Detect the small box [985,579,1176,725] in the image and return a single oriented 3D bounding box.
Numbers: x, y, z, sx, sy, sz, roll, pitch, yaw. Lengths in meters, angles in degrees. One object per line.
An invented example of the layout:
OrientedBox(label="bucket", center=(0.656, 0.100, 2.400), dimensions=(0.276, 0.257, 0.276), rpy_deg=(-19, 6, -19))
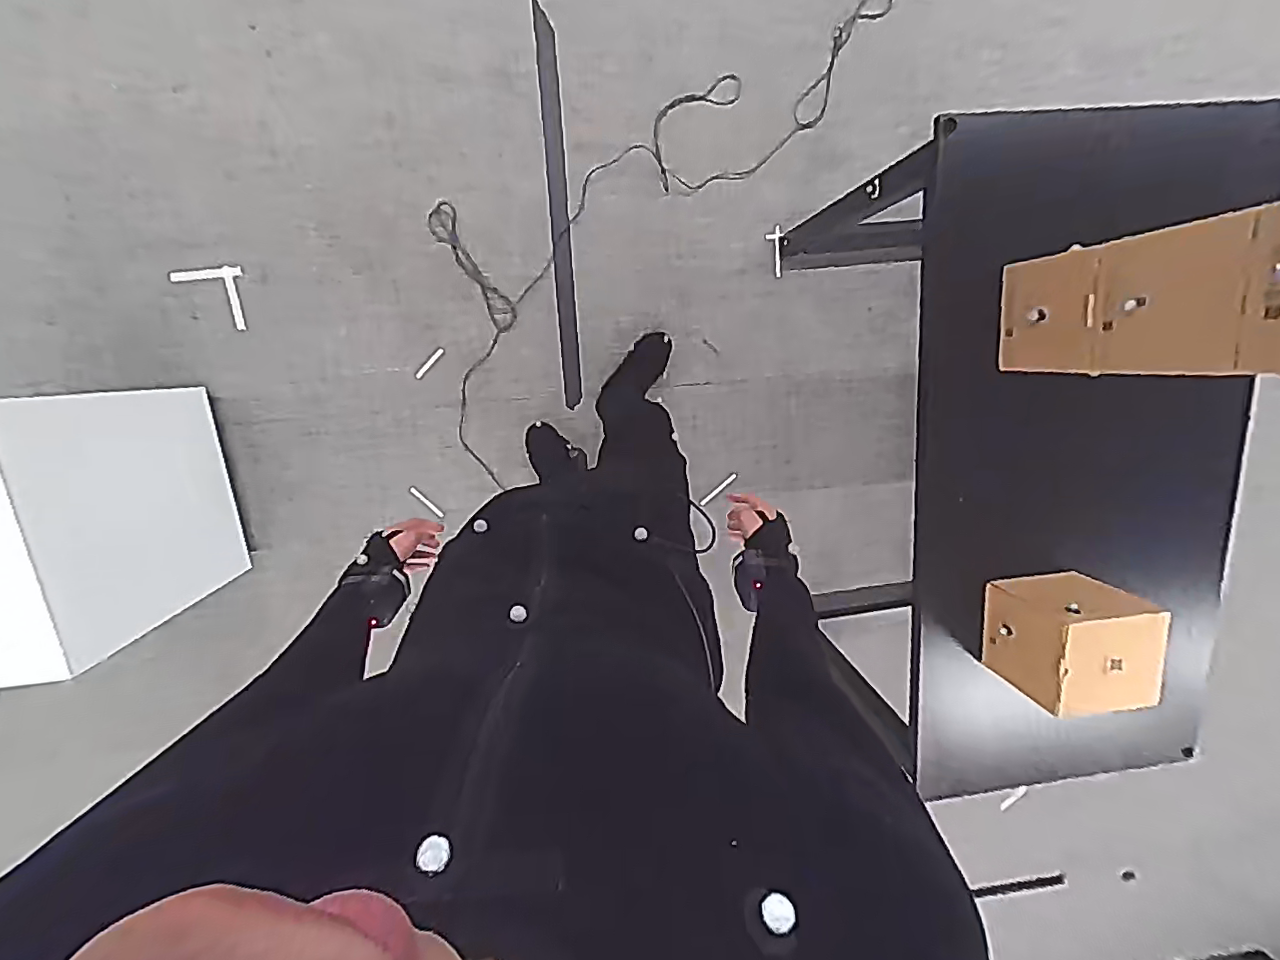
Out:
OrientedBox(label="small box", center=(0.726, 0.277, 0.907), dimensions=(0.179, 0.176, 0.168), rpy_deg=(-6, 102, -4))

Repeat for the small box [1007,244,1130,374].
OrientedBox(label="small box", center=(0.678, -0.245, 0.792), dimensions=(0.179, 0.176, 0.168), rpy_deg=(-7, 103, -4))

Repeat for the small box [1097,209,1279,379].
OrientedBox(label="small box", center=(0.697, -0.211, 0.632), dimensions=(0.179, 0.176, 0.168), rpy_deg=(-6, 102, -4))

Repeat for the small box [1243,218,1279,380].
OrientedBox(label="small box", center=(0.712, -0.177, 0.474), dimensions=(0.179, 0.176, 0.168), rpy_deg=(-7, 101, -4))
